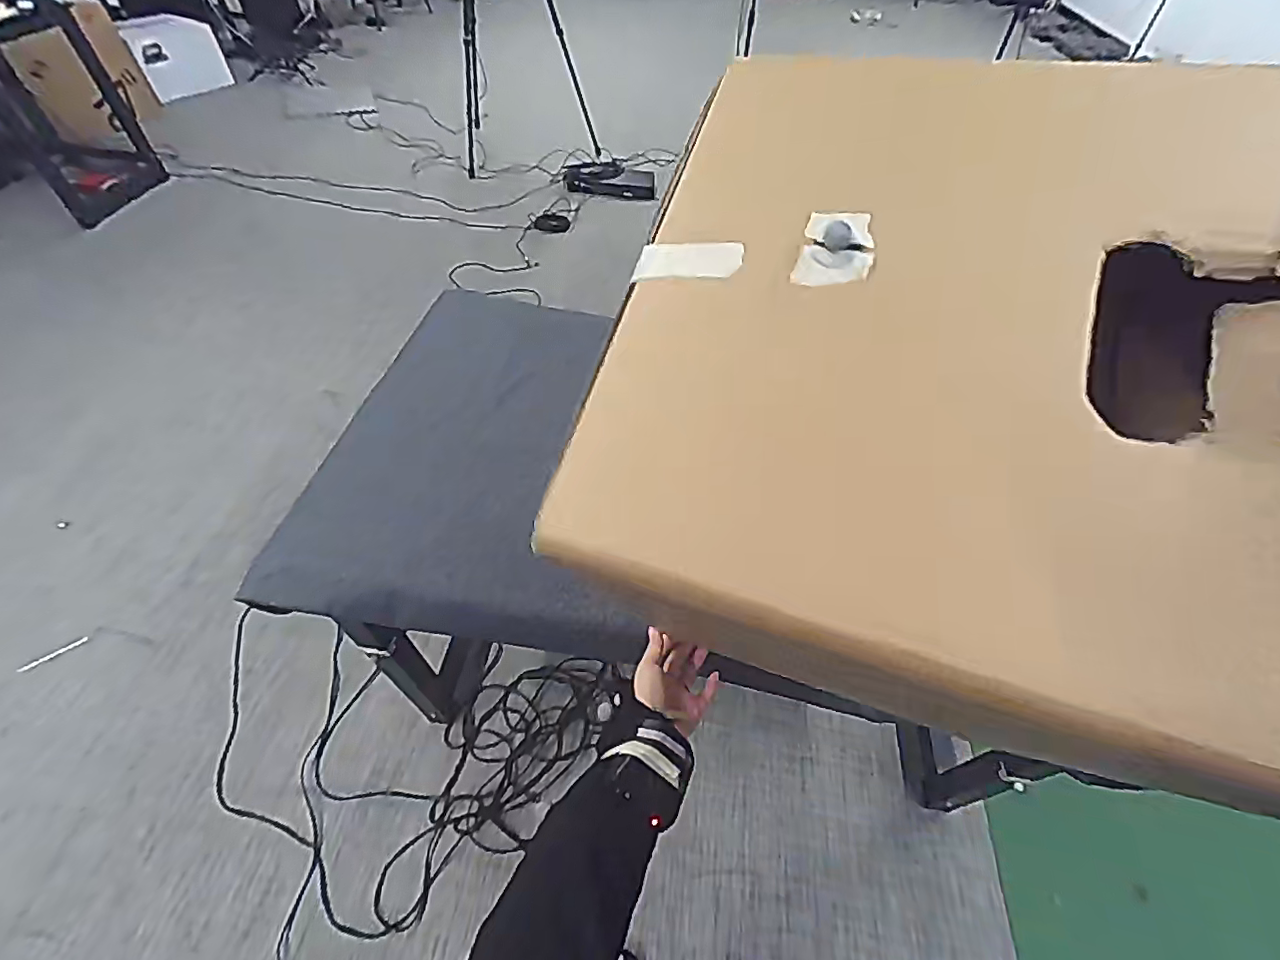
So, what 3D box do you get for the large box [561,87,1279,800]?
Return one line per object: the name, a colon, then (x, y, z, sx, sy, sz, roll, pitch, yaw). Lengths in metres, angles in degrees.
large box: (0.177, -0.005, 0.428, 0.320, 0.408, 0.320, 15, 74, 16)
